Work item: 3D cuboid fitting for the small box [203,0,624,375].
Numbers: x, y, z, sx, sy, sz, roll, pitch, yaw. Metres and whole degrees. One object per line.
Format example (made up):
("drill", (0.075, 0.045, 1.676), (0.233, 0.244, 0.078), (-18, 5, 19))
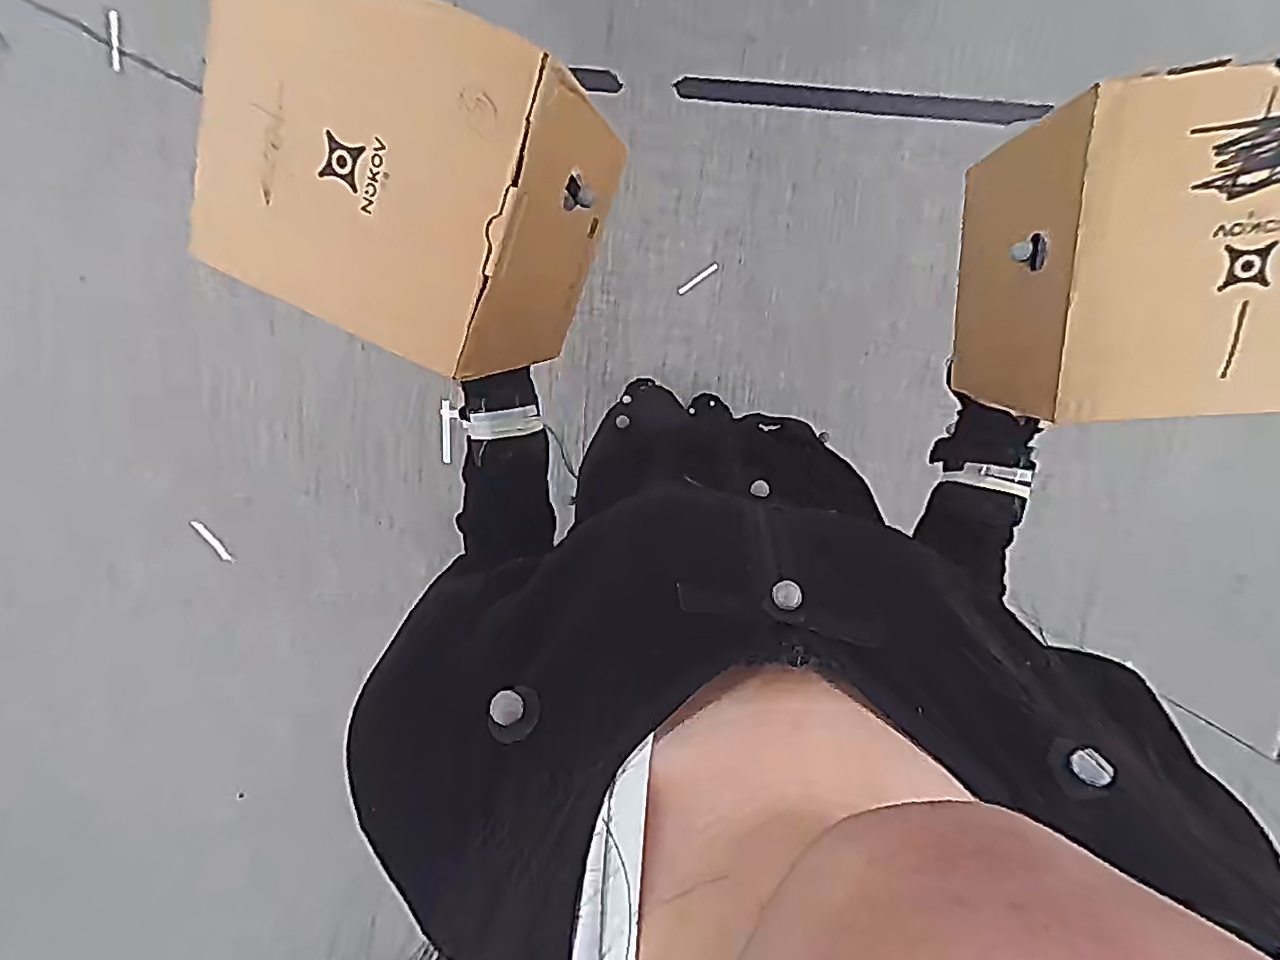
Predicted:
("small box", (-0.127, -0.187, 0.353), (0.179, 0.176, 0.168), (25, 110, 4))

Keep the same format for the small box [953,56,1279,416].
("small box", (0.330, -0.144, 0.359), (0.168, 0.176, 0.179), (-1, 106, 11))
